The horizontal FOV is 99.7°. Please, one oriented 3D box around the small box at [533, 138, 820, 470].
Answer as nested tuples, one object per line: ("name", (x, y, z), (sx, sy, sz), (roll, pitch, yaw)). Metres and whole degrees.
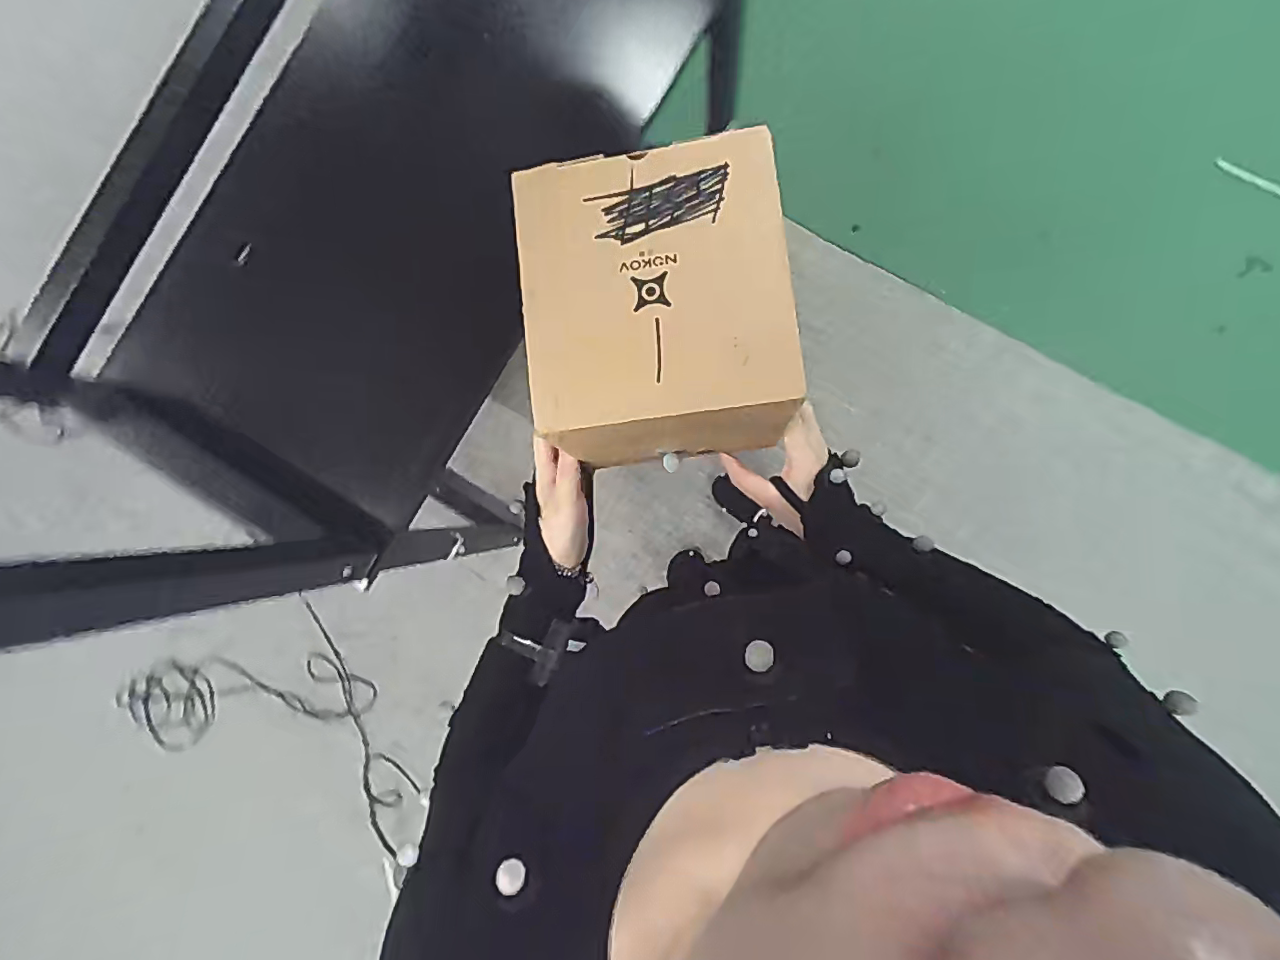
("small box", (0.027, -0.110, 0.411), (0.168, 0.176, 0.179), (-6, 84, 7))
